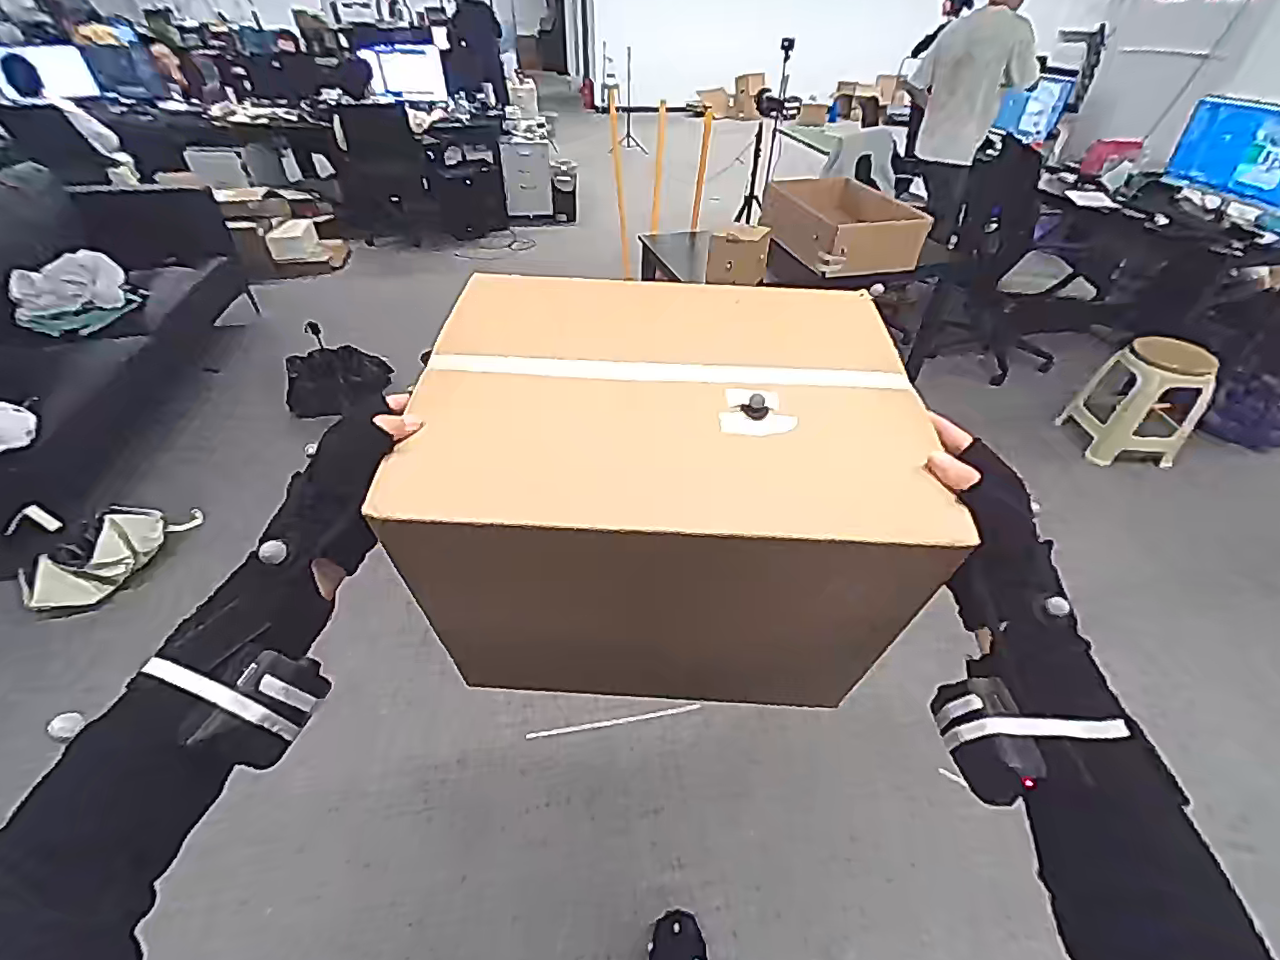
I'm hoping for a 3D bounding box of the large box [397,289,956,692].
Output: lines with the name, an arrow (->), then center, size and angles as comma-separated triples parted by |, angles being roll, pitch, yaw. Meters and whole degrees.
large box -> 0.023, 0.018, 0.585 | 0.408, 0.320, 0.320 | 3, 50, 0
